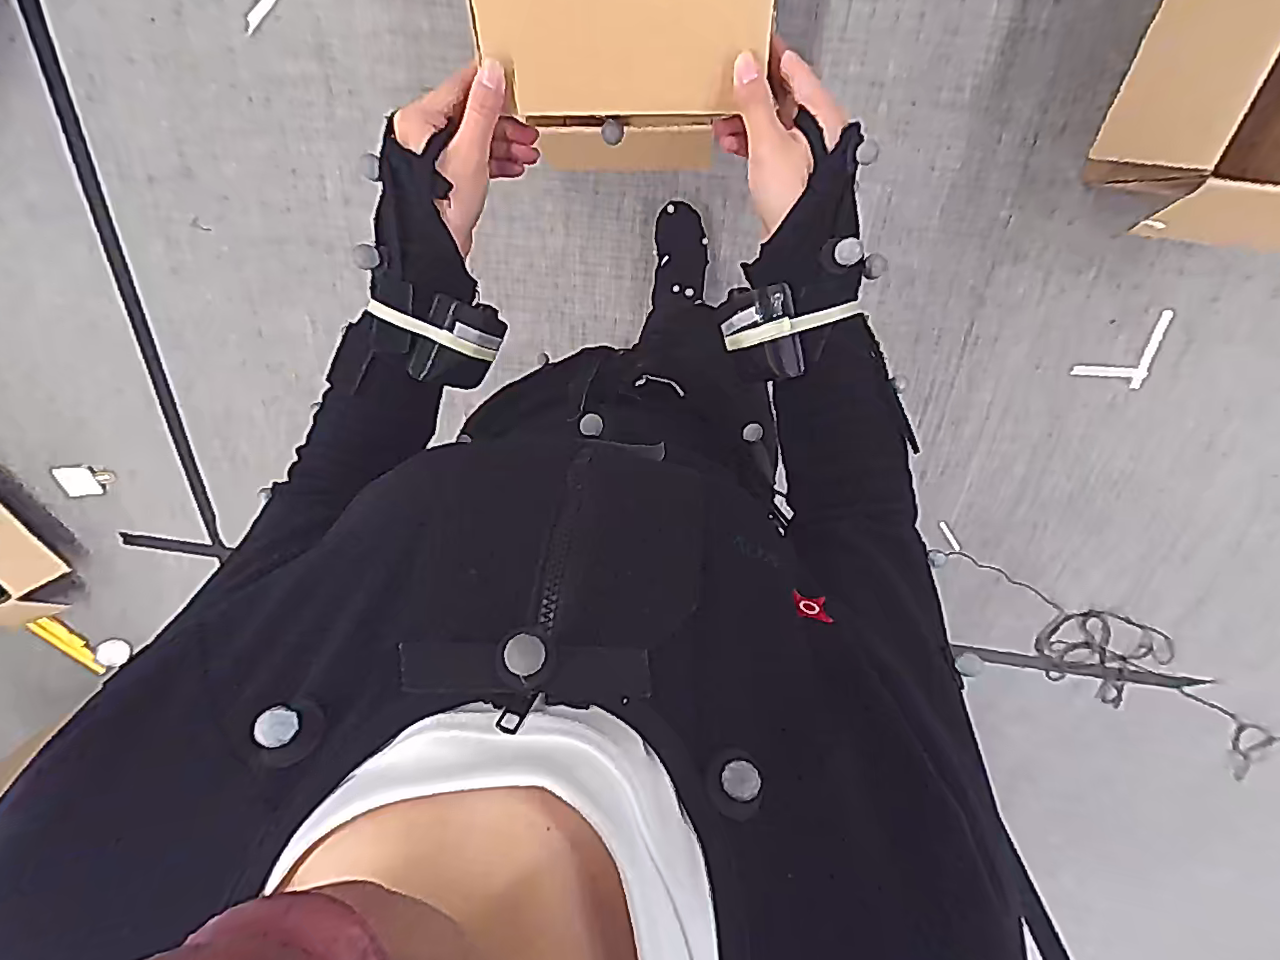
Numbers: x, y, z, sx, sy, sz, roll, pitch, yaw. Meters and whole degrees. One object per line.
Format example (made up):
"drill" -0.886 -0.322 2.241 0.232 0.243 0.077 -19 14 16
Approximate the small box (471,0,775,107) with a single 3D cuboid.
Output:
"small box" -0.010 -0.347 0.355 0.179 0.176 0.168 0 125 1
